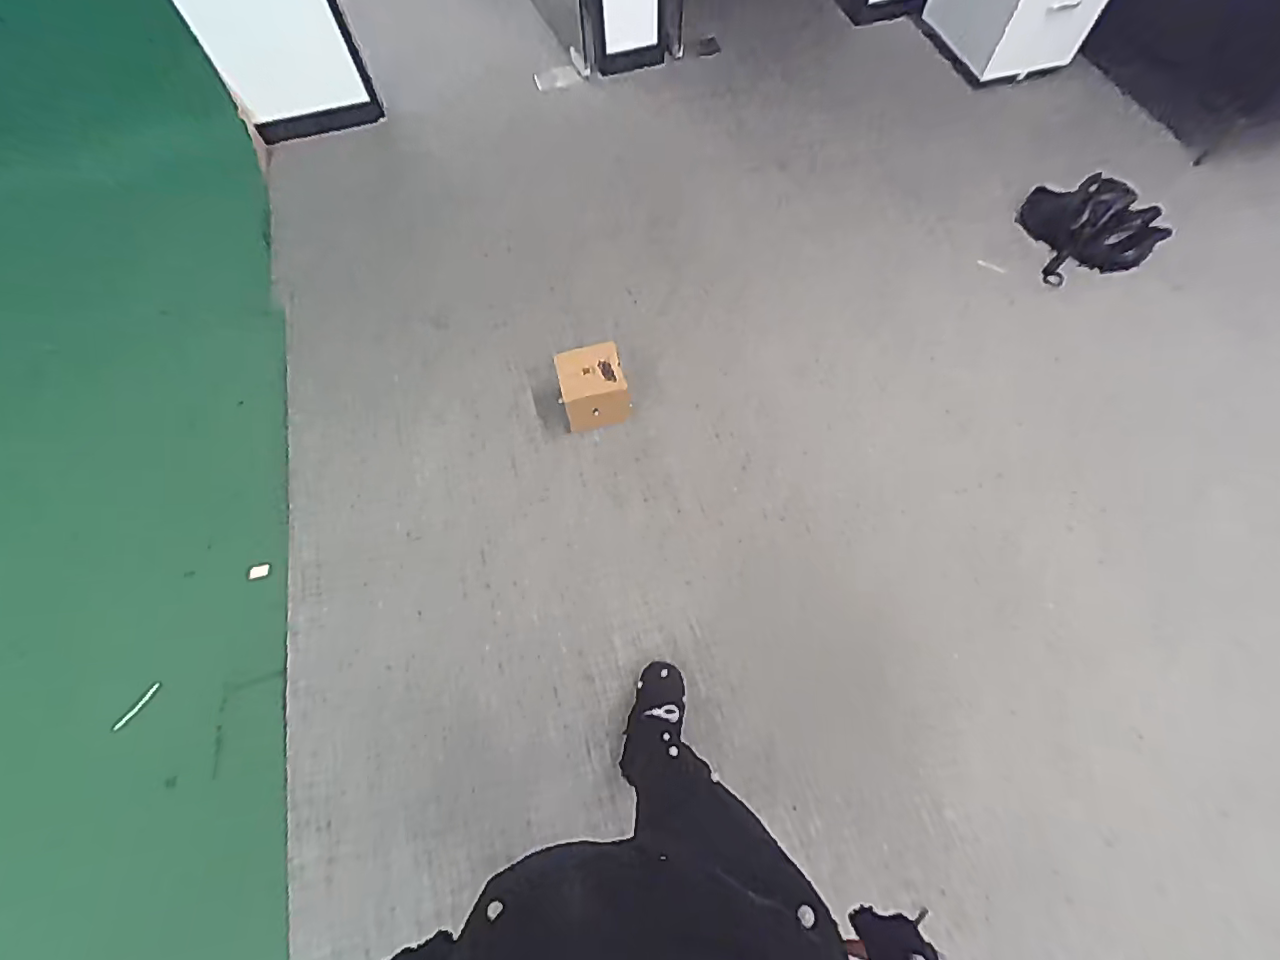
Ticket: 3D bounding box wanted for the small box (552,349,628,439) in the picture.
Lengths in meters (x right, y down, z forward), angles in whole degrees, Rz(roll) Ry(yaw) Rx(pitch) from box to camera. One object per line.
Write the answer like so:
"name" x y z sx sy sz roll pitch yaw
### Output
"small box" -0.139 -0.241 1.542 0.179 0.176 0.168 -16 65 -7
